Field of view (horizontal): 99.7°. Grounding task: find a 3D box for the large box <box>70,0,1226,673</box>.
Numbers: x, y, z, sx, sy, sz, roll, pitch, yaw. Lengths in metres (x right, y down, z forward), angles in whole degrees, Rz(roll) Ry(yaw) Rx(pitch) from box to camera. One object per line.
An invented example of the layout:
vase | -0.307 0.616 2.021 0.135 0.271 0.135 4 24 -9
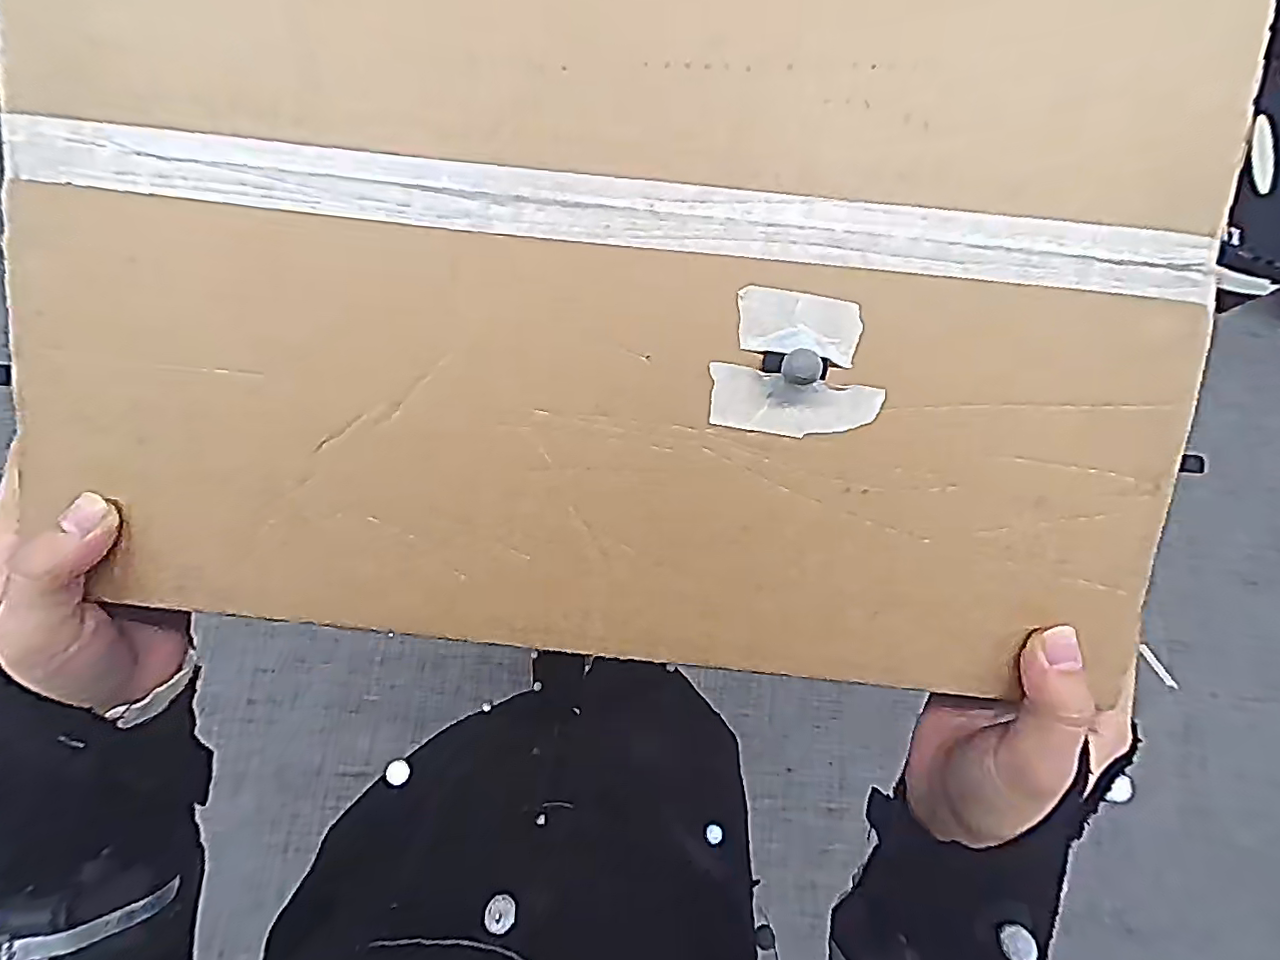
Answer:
large box | -0.005 -0.105 0.345 0.408 0.320 0.320 6 97 -1
